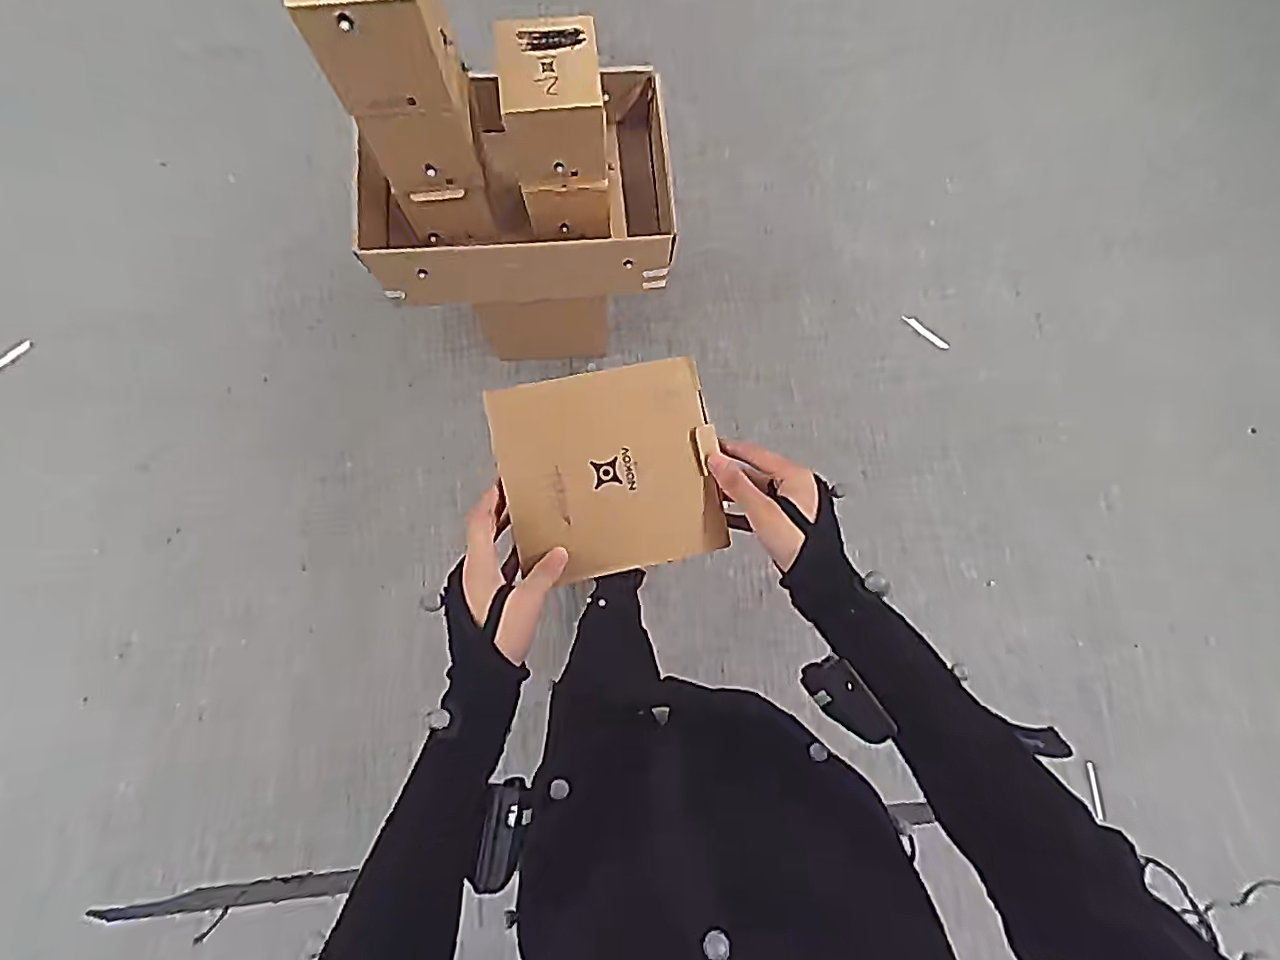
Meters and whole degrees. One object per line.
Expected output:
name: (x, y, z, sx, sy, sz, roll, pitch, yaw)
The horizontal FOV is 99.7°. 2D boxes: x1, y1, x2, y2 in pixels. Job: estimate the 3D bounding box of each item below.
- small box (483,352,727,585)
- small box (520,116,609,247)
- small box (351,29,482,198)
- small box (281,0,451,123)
small box: (-0.035, -0.012, 0.515, 0.179, 0.176, 0.168, -12, 91, -6)
small box: (-0.150, -0.607, 1.113, 0.168, 0.176, 0.179, -3, 80, -1)
small box: (-0.381, -0.628, 0.939, 0.168, 0.176, 0.179, -7, 80, -3)
small box: (-0.382, -0.659, 0.777, 0.168, 0.176, 0.179, -7, 79, -3)
